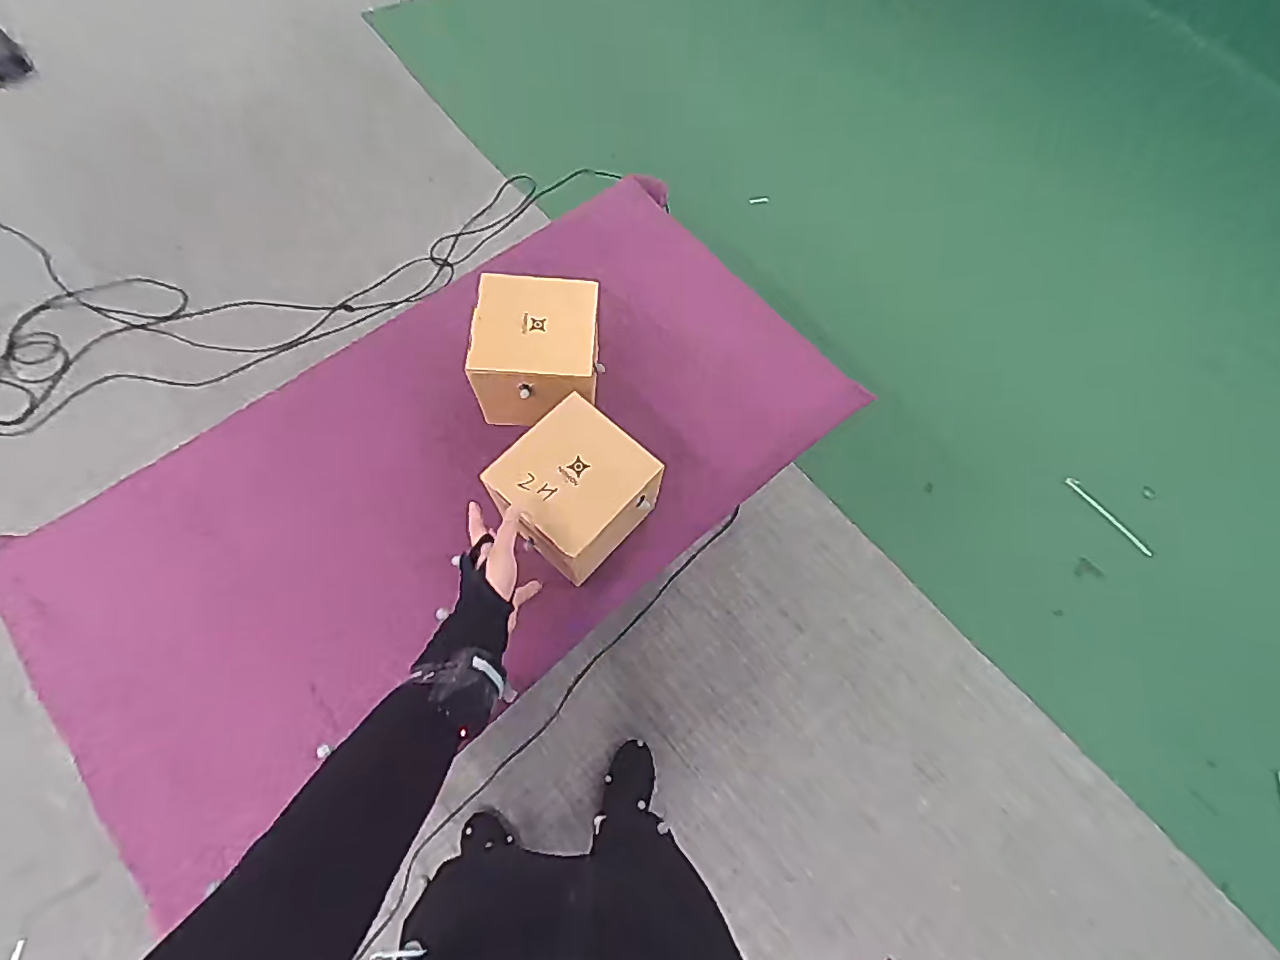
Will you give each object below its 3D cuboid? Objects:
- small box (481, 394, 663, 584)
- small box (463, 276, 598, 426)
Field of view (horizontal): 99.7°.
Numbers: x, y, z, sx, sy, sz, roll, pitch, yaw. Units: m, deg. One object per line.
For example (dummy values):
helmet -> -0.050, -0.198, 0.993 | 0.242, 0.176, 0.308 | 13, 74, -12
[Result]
small box -> -0.090, 0.021, 0.761 | 0.168, 0.176, 0.179 | 40, 72, 13
small box -> -0.157, -0.190, 0.840 | 0.179, 0.176, 0.168 | 2, 70, -2
